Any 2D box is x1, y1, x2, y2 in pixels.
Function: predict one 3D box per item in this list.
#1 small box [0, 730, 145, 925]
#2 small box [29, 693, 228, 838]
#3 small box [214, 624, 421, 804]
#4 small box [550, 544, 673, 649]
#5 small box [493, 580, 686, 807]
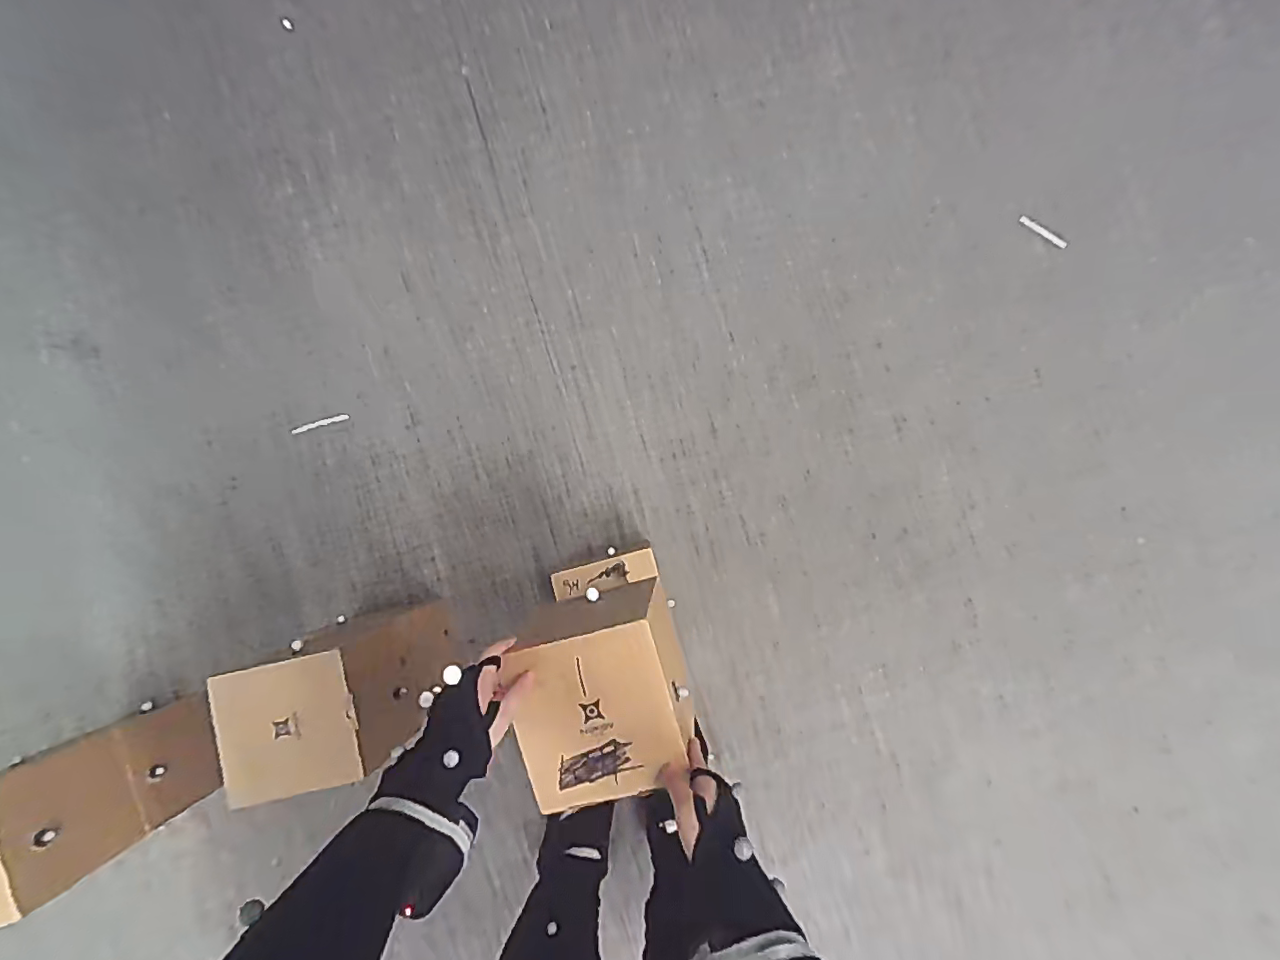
[{"bbox_3d":[-0.856,0.488,0.756,0.168,0.176,0.179,-19,87,-1],"label":"small box"},{"bbox_3d":[-0.853,0.493,0.920,0.168,0.176,0.179,-18,86,-1],"label":"small box"},{"bbox_3d":[-0.438,0.313,0.758,0.179,0.176,0.168,-13,86,0],"label":"small box"},{"bbox_3d":[-0.042,0.217,0.921,0.168,0.176,0.179,-14,87,0],"label":"small box"},{"bbox_3d":[-0.045,0.236,0.635,0.168,0.176,0.179,-16,92,7],"label":"small box"}]
